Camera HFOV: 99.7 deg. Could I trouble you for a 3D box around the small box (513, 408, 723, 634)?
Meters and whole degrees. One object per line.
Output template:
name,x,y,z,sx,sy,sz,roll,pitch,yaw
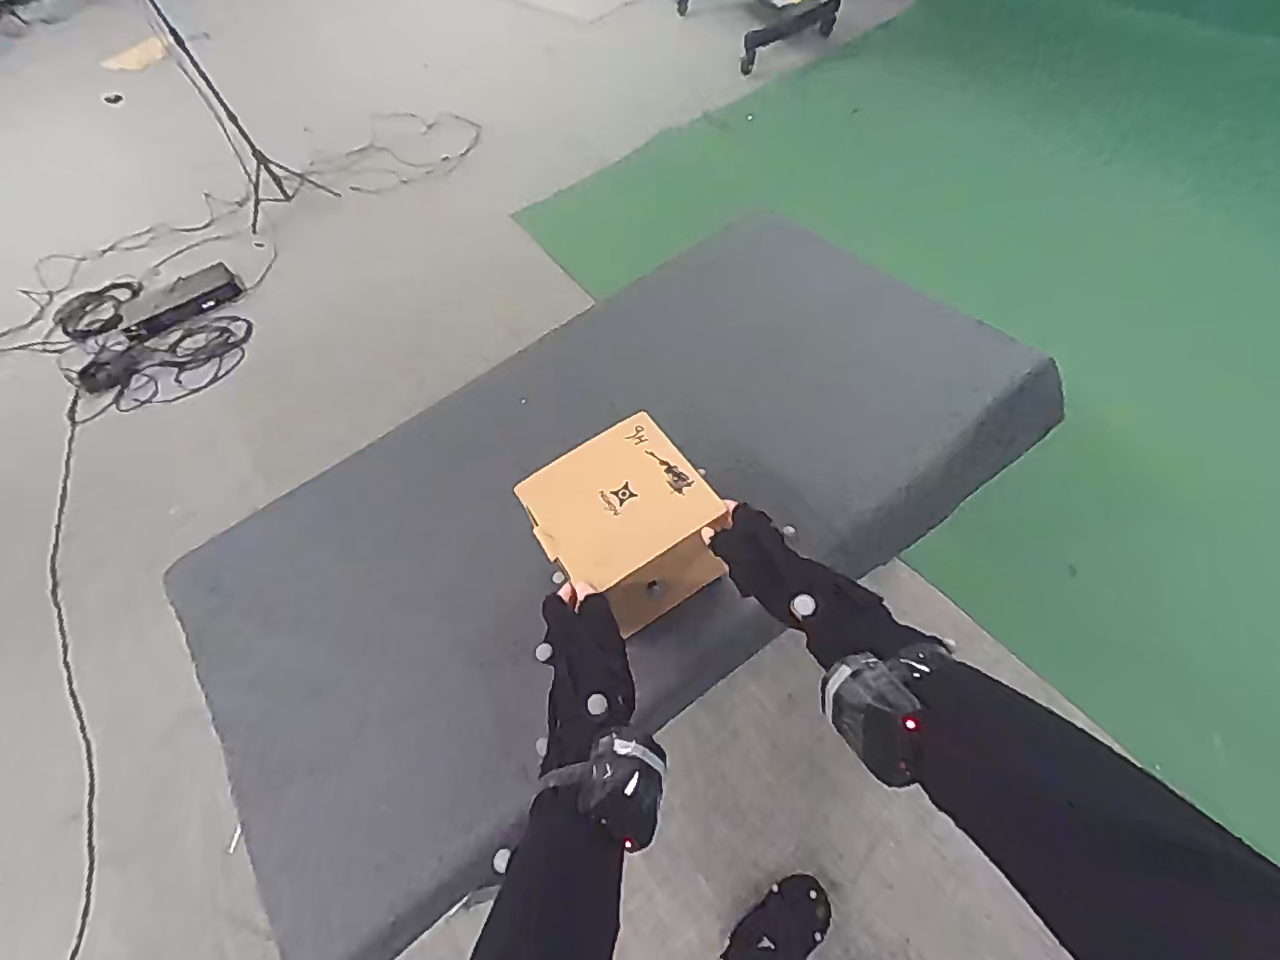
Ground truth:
small box,-0.016,0.056,0.642,0.179,0.176,0.168,-33,60,-9
